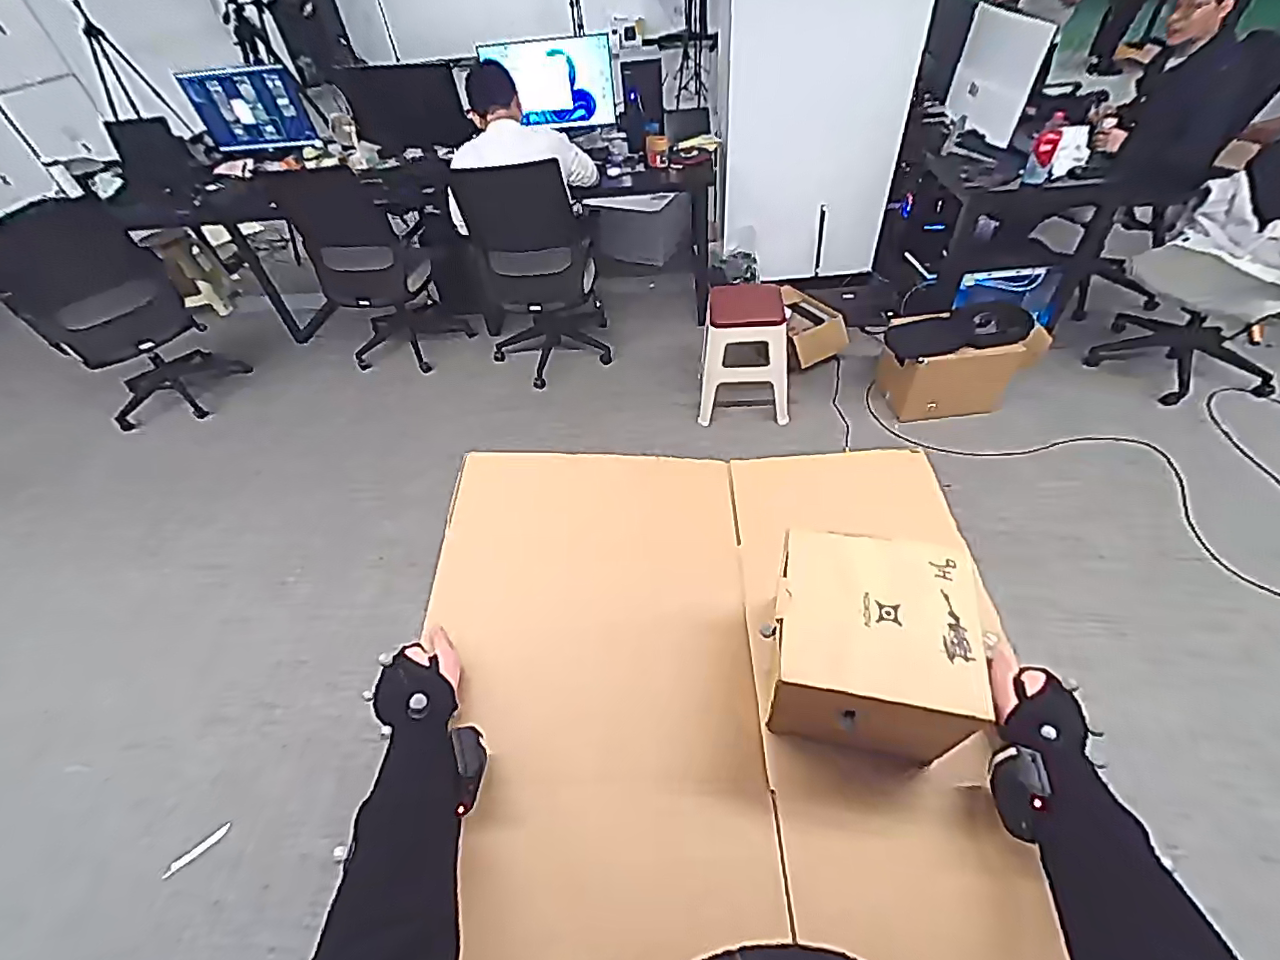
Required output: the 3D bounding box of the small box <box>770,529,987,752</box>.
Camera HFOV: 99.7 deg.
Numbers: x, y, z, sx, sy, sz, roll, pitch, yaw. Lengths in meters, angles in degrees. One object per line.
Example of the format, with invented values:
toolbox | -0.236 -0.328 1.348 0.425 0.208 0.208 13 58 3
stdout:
small box | 0.236 0.173 0.578 0.179 0.176 0.168 6 53 14
